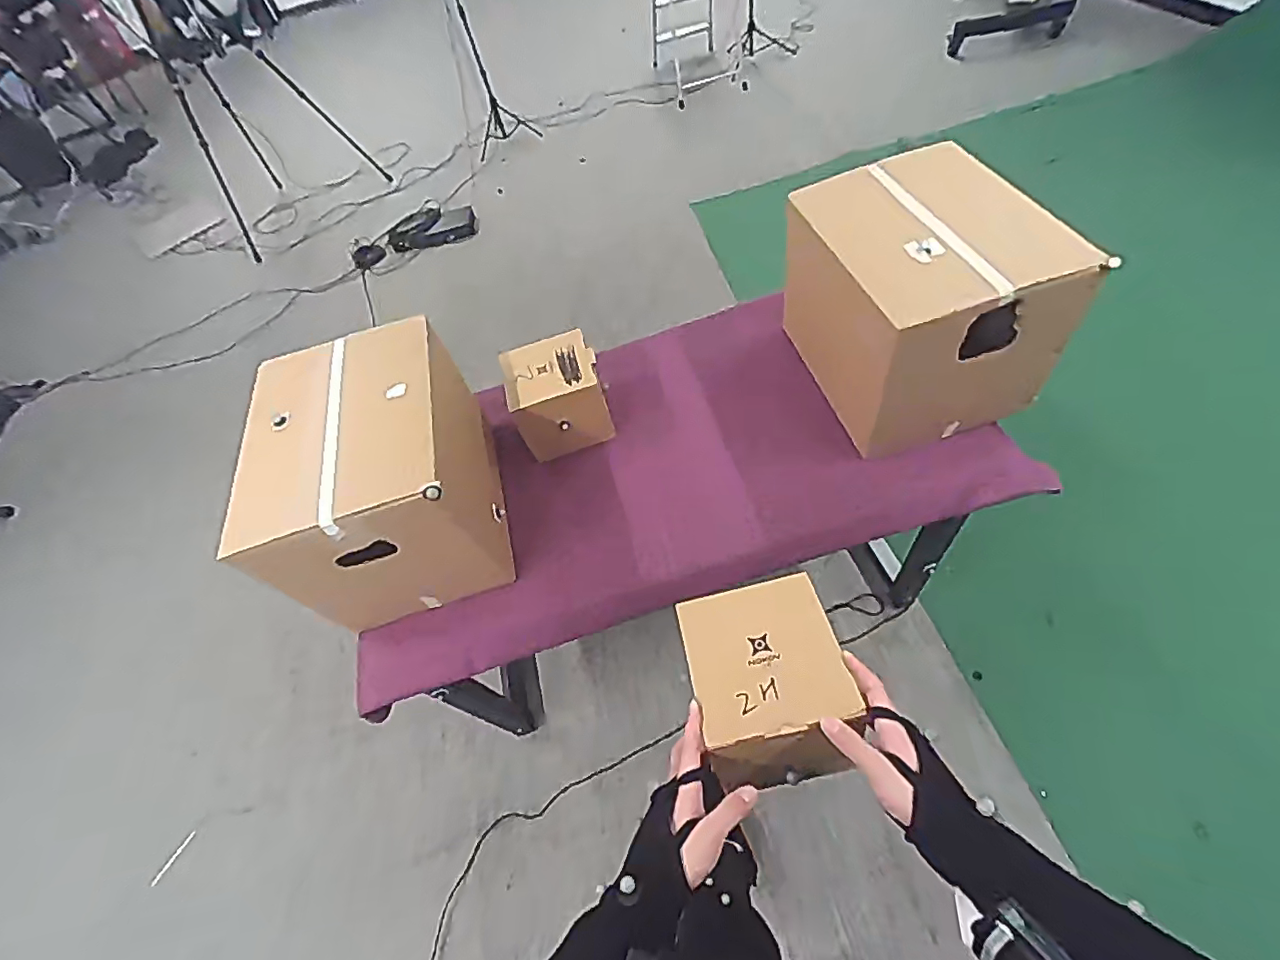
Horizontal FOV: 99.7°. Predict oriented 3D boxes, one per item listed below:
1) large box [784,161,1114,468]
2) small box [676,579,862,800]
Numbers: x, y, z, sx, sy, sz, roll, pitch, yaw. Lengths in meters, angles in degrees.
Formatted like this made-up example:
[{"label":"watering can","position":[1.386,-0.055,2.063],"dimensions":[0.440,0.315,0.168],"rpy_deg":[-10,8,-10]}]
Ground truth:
[{"label":"large box","position":[0.487,-0.296,0.979],"dimensions":[0.320,0.320,0.408],"rpy_deg":[-17,54,1]},{"label":"small box","position":[0.147,0.250,0.647],"dimensions":[0.168,0.176,0.179],"rpy_deg":[-14,42,5]}]
